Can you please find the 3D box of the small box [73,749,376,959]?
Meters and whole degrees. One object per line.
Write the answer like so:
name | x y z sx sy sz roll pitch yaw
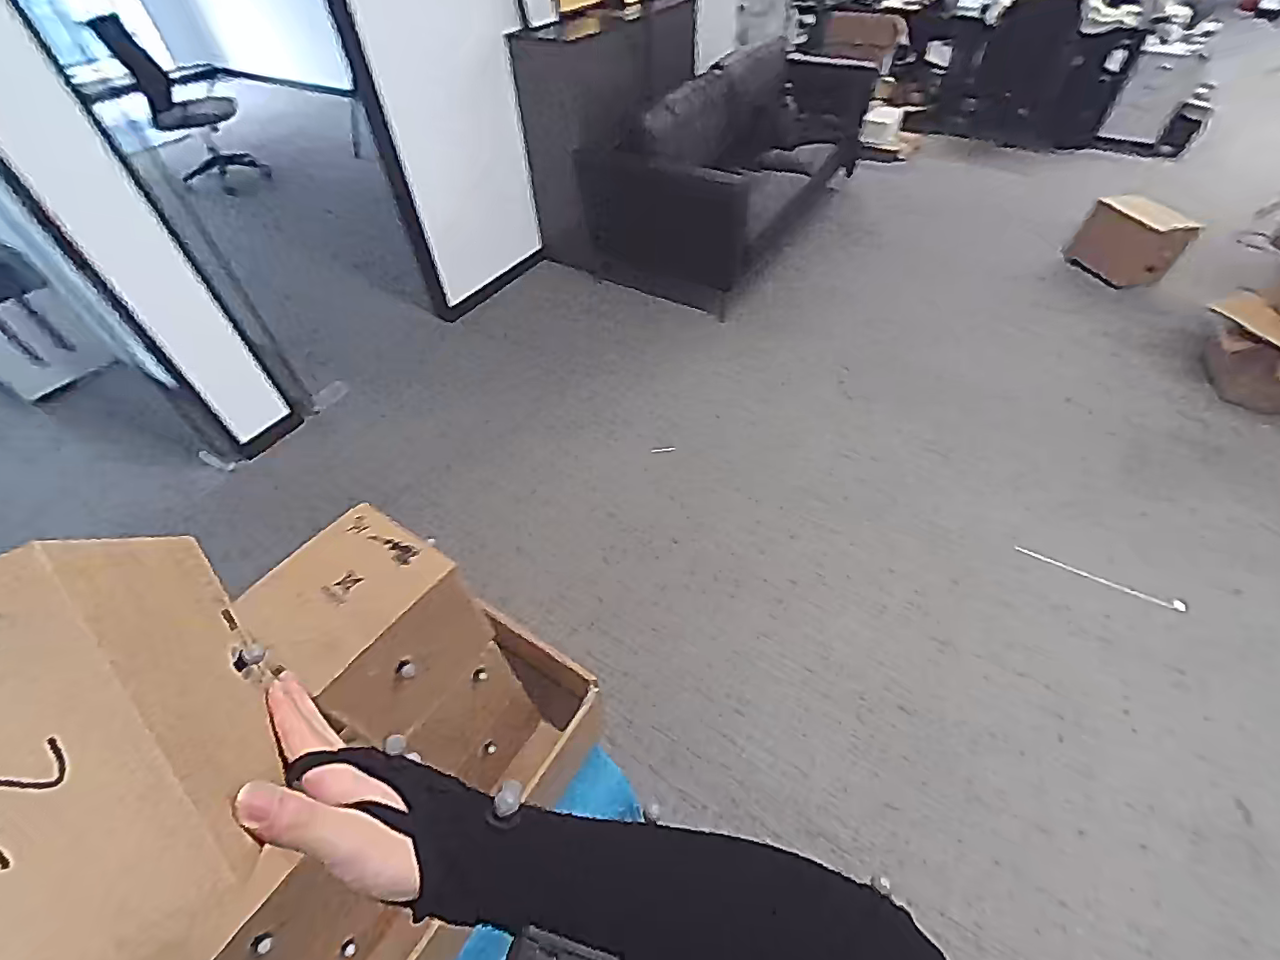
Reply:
small box | -0.436 0.446 0.599 0.168 0.176 0.179 24 53 23

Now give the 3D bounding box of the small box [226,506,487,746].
small box | -0.306 0.170 0.623 0.168 0.176 0.179 26 56 24
